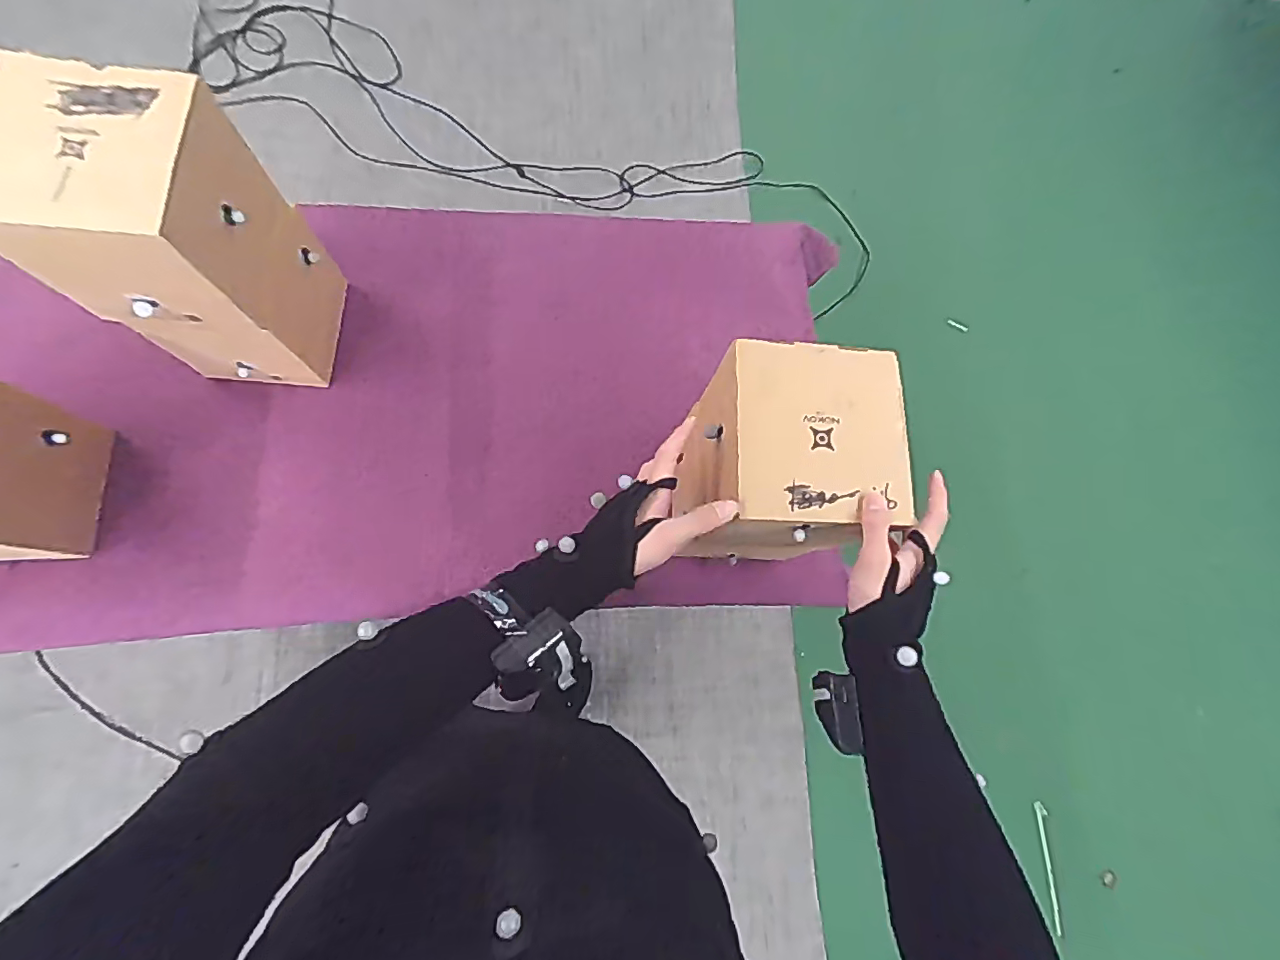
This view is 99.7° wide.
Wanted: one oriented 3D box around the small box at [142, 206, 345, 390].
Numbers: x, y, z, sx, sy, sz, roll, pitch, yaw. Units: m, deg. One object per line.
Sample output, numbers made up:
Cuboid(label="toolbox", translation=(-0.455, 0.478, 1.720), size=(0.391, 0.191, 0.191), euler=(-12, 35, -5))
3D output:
Cuboid(label="small box", translation=(-0.513, -0.238, 0.712), size=(0.168, 0.176, 0.179), euler=(4, 76, -6))

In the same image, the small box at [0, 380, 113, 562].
Cuboid(label="small box", translation=(-0.768, -0.003, 0.619), size=(0.168, 0.176, 0.179), euler=(-1, 76, -8))

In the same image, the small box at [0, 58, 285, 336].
Cuboid(label="small box", translation=(-0.498, -0.272, 0.552), size=(0.168, 0.176, 0.179), euler=(3, 77, -7))

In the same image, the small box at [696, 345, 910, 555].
Cuboid(label="small box", translation=(0.156, -0.021, 0.577), size=(0.168, 0.176, 0.179), euler=(3, 76, -6))
